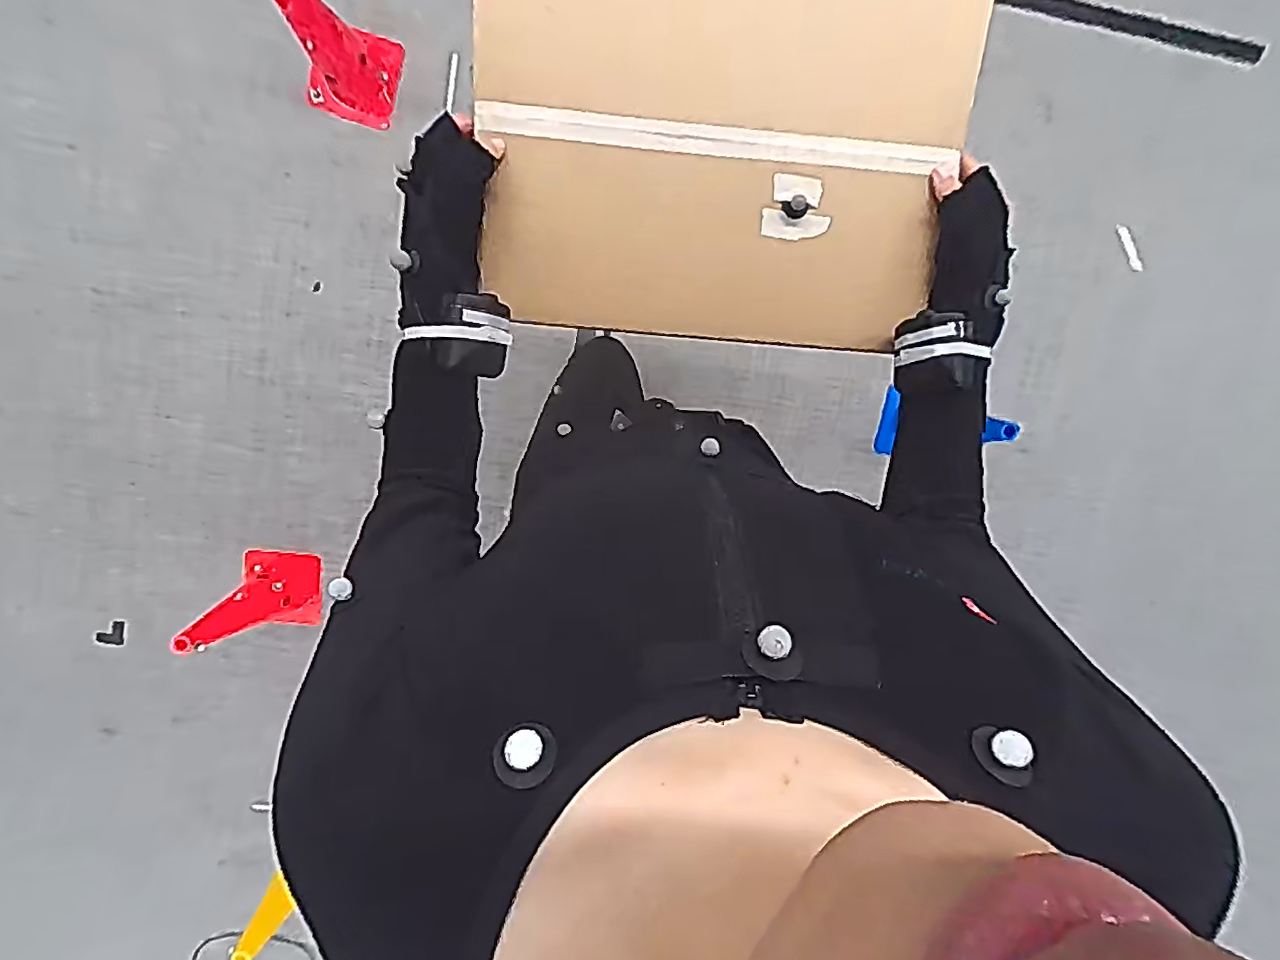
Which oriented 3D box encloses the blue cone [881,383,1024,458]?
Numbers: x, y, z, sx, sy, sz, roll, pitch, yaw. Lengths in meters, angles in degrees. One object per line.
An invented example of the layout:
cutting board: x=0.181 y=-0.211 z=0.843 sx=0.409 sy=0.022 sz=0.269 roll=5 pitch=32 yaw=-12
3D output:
blue cone: x=0.778 y=-0.139 z=1.333 sx=0.192 sy=0.380 sz=0.193 roll=12 pitch=98 yaw=-6

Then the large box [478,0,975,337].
large box: x=0.058 y=-0.330 z=0.597 sx=0.408 sy=0.320 sz=0.320 roll=3 pitch=106 yaw=-4

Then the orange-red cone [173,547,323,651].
orange-red cone: x=-0.953 y=0.312 z=1.292 sx=0.198 sy=0.360 sz=0.199 roll=7 pitch=99 yaw=-3

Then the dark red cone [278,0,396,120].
dark red cone: x=-0.667 y=-0.941 z=1.095 sx=0.201 sy=0.394 sz=0.202 roll=15 pitch=98 yaw=-6
